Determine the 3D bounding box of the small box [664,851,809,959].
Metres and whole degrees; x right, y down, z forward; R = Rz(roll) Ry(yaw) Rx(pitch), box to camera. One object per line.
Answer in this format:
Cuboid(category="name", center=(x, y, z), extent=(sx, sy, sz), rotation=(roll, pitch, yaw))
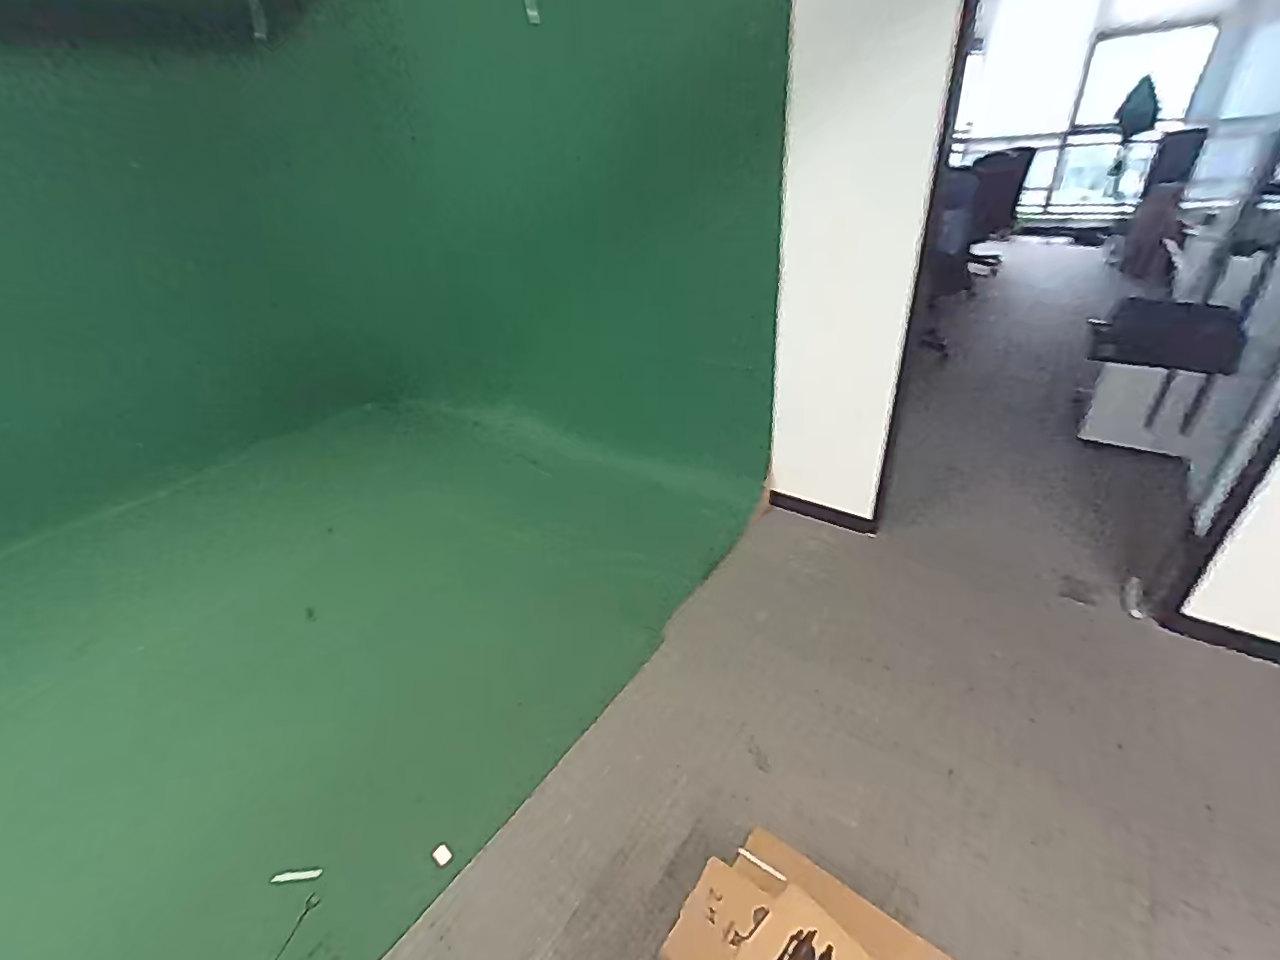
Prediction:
Cuboid(category="small box", center=(0.158, 0.777, 0.892), extent=(0.179, 0.176, 0.168), rotation=(18, 38, 33))
